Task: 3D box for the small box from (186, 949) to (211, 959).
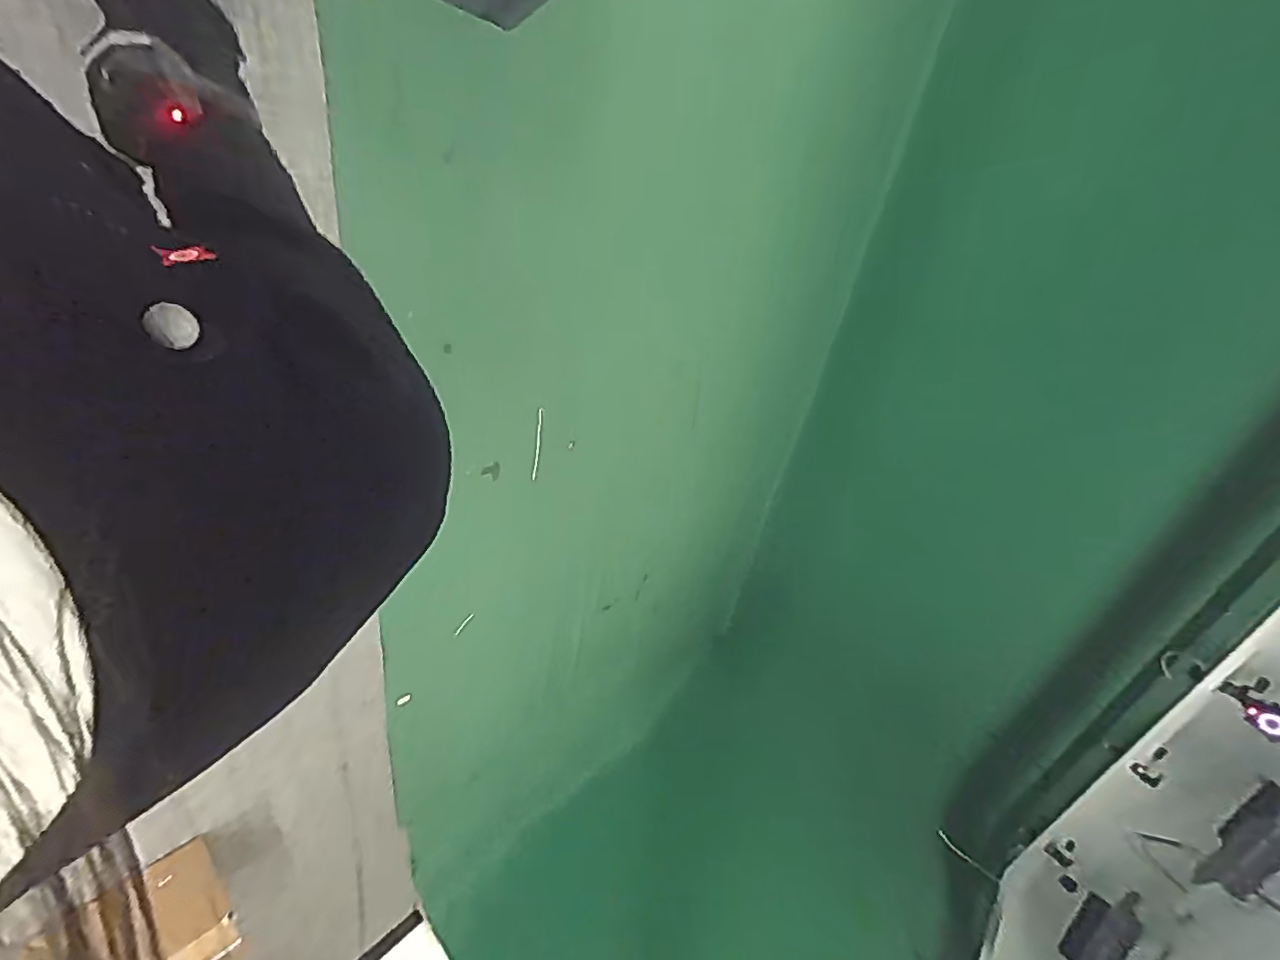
[{"bbox_3d":[-1.308,1.515,1.541,0.179,0.176,0.168,-24,129,-42],"label":"small box"}]
